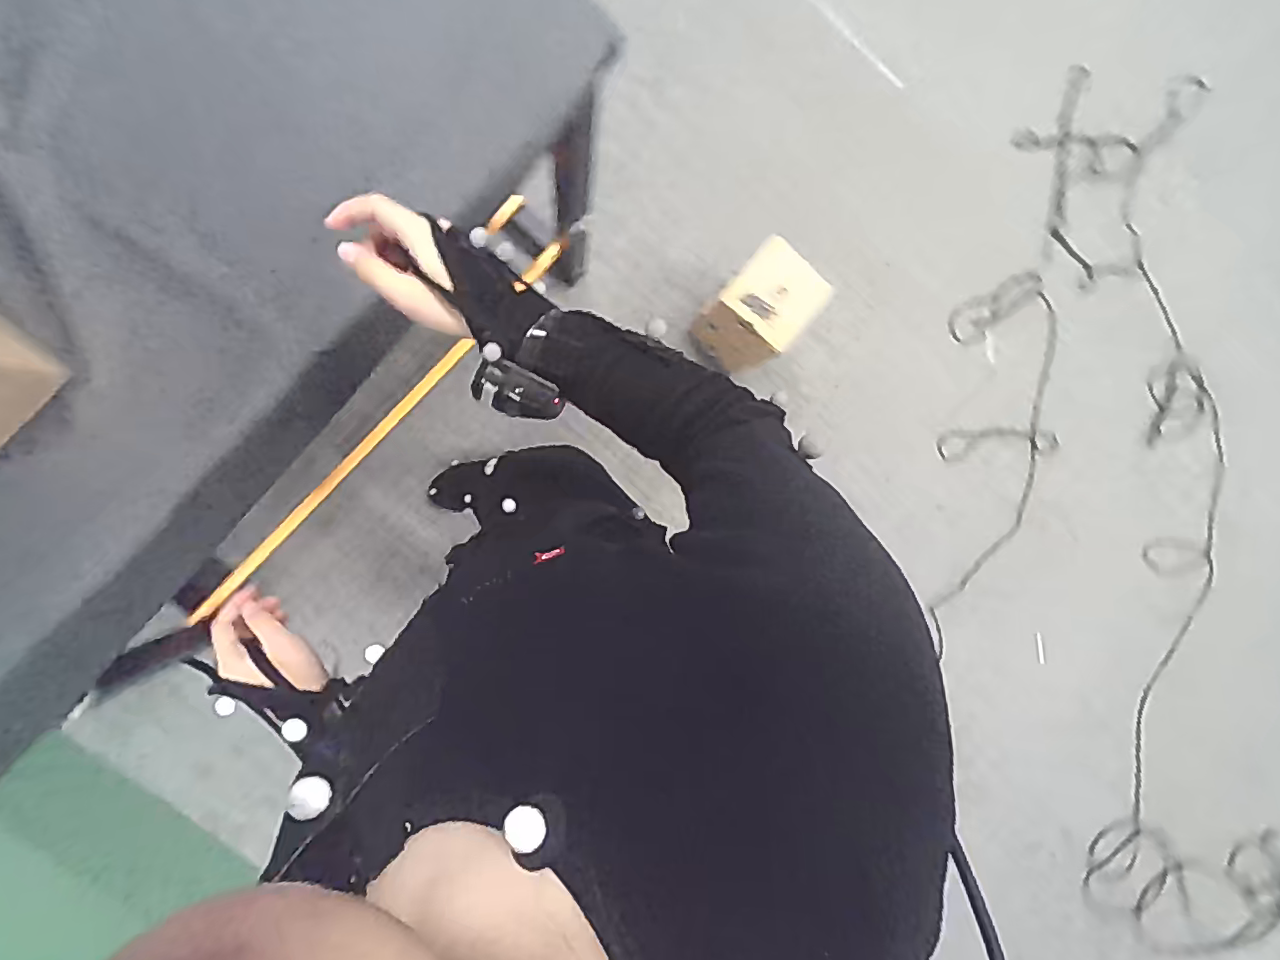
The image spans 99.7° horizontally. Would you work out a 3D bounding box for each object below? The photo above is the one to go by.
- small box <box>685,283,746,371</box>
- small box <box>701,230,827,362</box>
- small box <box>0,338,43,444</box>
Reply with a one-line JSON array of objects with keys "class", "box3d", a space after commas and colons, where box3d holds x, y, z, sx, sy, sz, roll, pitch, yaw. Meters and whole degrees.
[{"class": "small box", "box3d": [0.231, -0.389, 1.300, 0.168, 0.176, 0.179, 42, 86, -6]}, {"class": "small box", "box3d": [0.247, -0.373, 1.137, 0.168, 0.176, 0.179, 40, 85, -7]}, {"class": "small box", "box3d": [-0.682, -0.088, 0.449, 0.168, 0.176, 0.179, 40, 86, -5]}]
